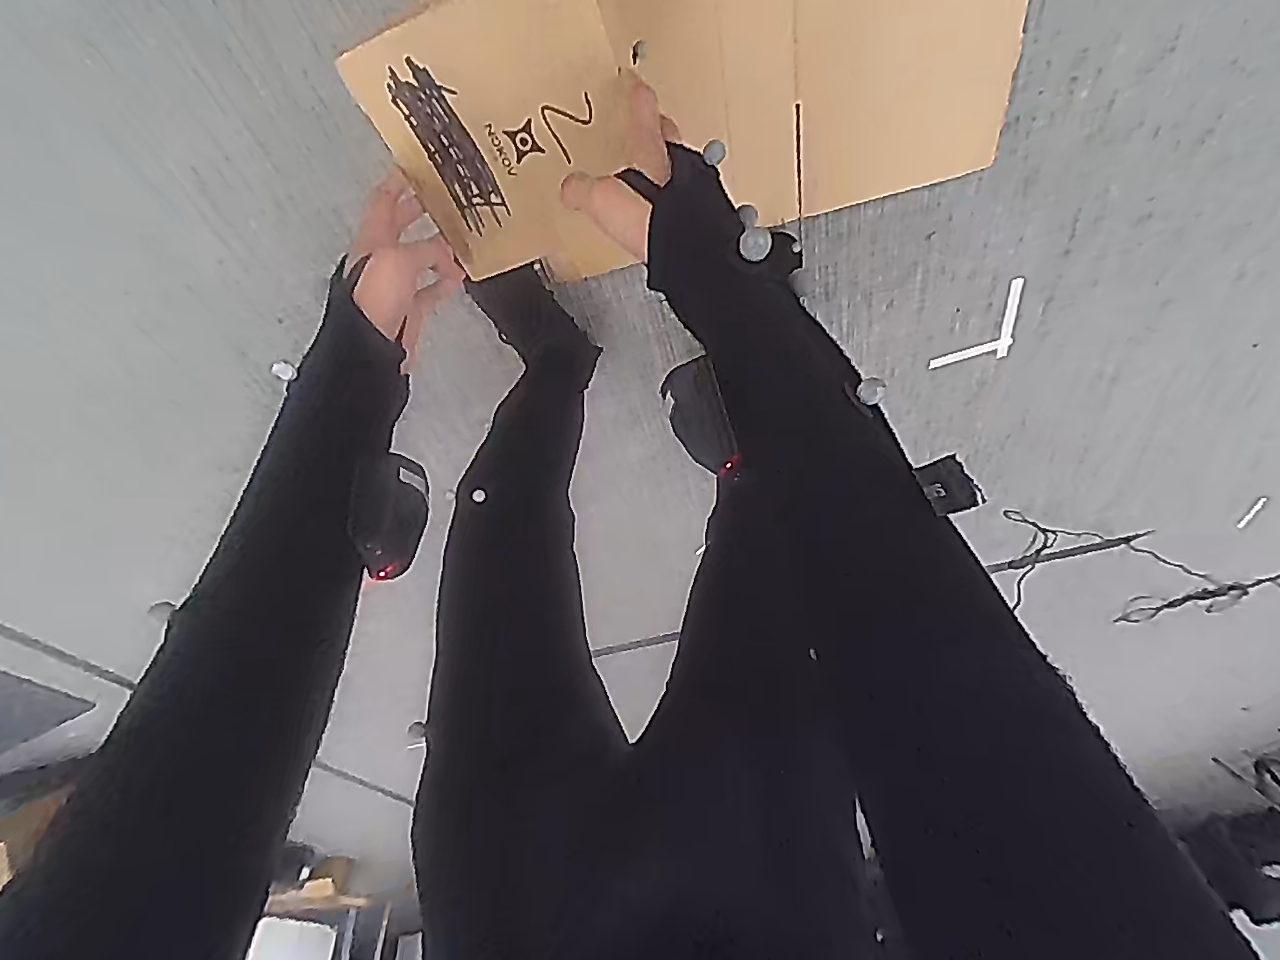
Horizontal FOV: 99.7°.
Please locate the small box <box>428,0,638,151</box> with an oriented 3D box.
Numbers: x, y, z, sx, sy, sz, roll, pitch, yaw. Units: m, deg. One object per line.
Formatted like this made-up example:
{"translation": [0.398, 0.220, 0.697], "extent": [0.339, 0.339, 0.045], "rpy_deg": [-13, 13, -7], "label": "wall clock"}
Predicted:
{"translation": [-0.110, -0.490, 0.584], "extent": [0.179, 0.176, 0.168], "rpy_deg": [-12, 135, 6], "label": "small box"}
